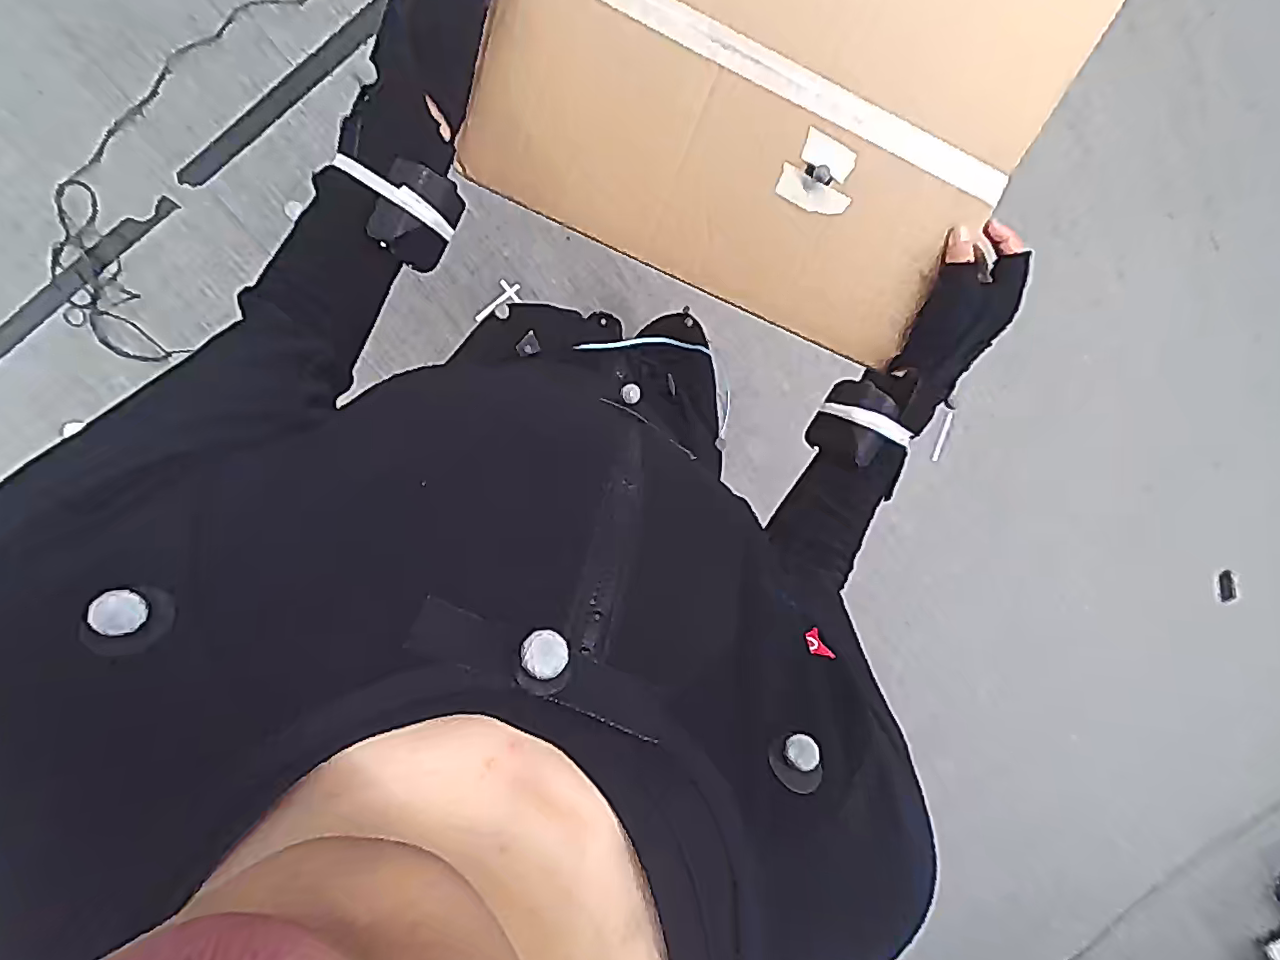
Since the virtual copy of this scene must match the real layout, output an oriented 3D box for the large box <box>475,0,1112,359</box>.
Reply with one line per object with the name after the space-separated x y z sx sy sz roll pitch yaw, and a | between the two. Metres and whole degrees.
0.106 -0.368 0.543 0.408 0.320 0.320 22 114 -9 | large box
